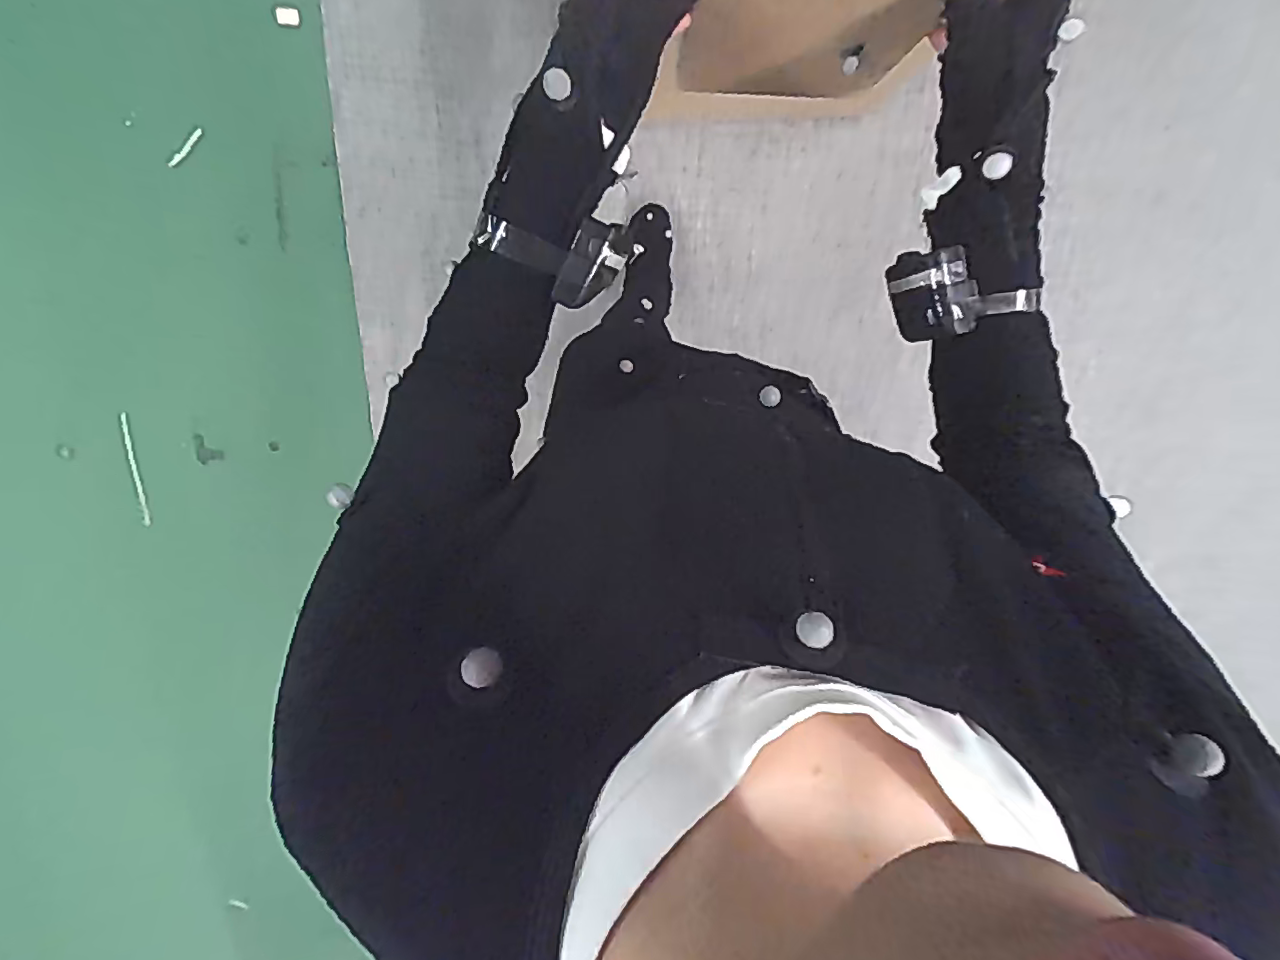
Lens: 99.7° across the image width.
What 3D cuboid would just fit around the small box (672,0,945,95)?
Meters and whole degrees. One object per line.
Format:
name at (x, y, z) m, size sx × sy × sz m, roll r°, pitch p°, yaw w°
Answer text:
small box at (0.119, -0.415, 0.400) m, size 0.179 × 0.176 × 0.168 m, roll 1°, pitch 104°, yaw 0°
